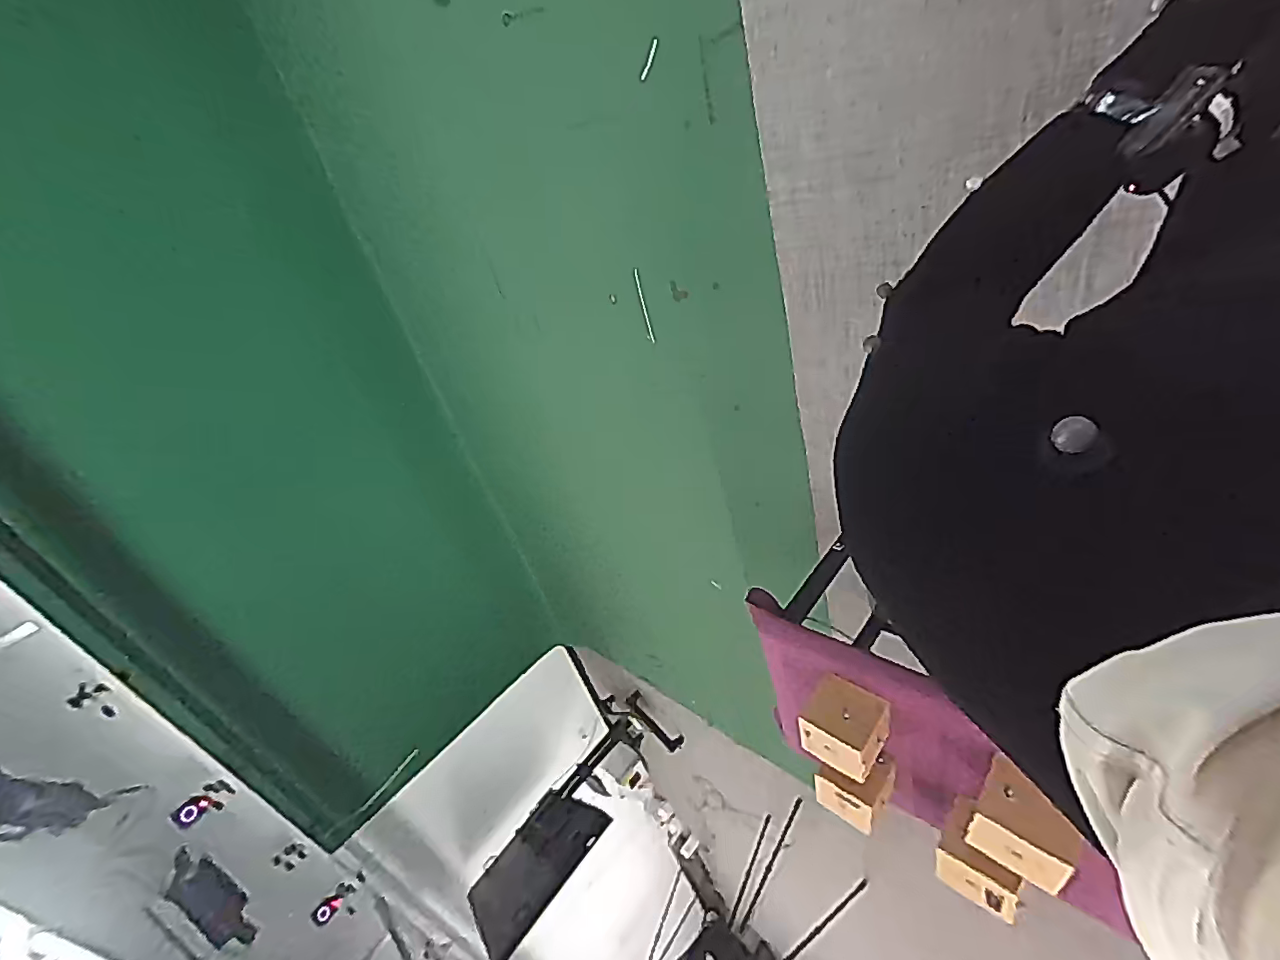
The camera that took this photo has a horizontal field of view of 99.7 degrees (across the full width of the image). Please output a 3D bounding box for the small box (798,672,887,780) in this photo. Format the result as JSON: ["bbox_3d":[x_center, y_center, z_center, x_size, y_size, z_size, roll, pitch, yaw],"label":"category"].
[{"bbox_3d":[0.551,0.656,1.462,0.179,0.176,0.168,18,137,39],"label":"small box"}]

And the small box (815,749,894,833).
[{"bbox_3d":[0.632,0.880,1.593,0.168,0.176,0.179,19,137,39],"label":"small box"}]

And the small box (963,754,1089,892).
[{"bbox_3d":[0.845,0.740,1.189,0.179,0.176,0.168,20,138,37],"label":"small box"}]
